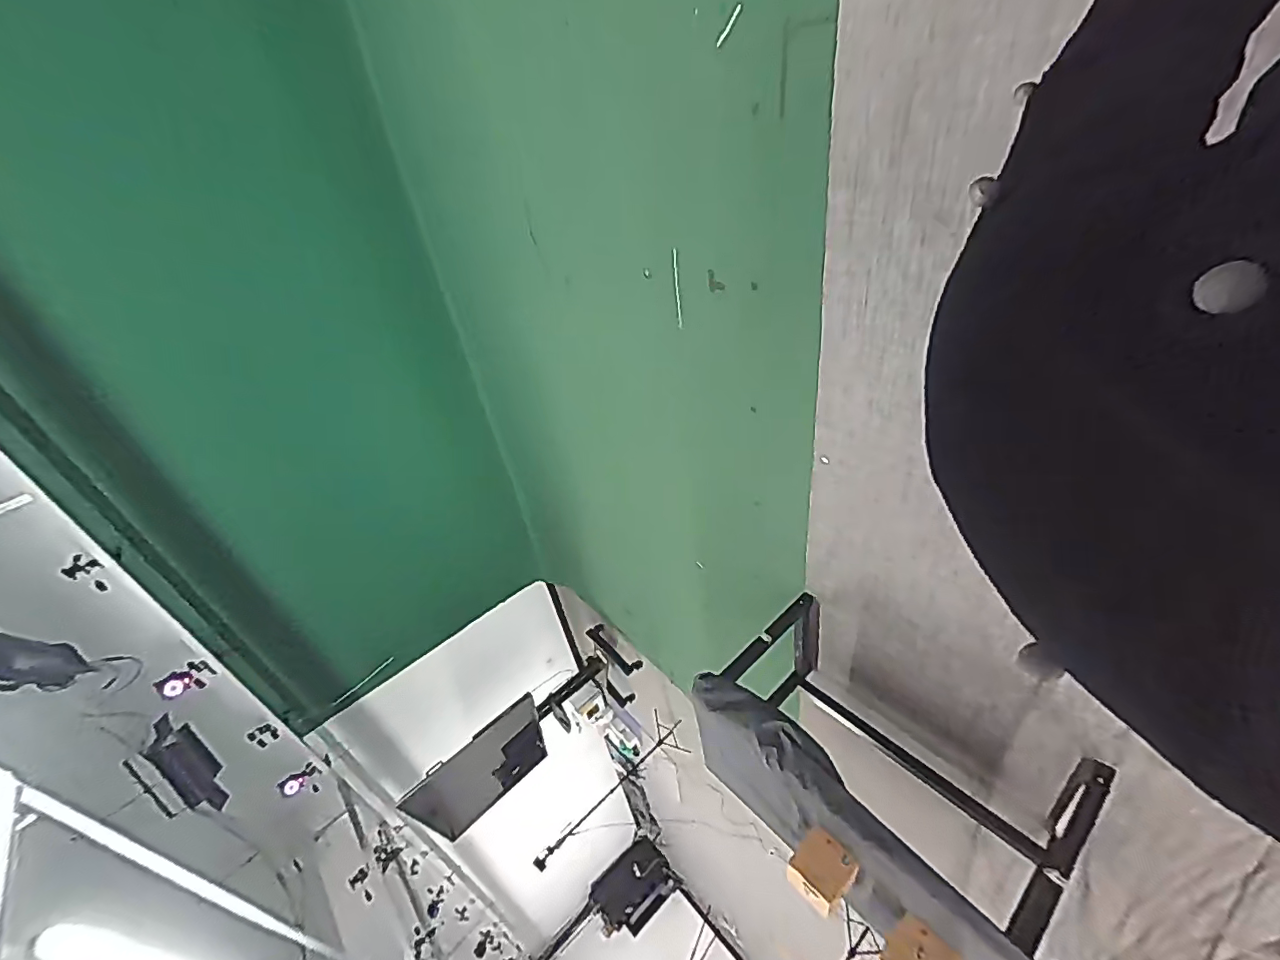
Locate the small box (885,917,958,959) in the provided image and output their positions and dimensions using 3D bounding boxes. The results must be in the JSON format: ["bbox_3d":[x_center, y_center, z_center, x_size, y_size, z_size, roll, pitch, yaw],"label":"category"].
[{"bbox_3d":[0.845,1.469,1.619,0.168,0.176,0.179,28,140,44],"label":"small box"}]

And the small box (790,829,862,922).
[{"bbox_3d":[0.630,1.331,1.829,0.168,0.176,0.179,31,144,41],"label":"small box"}]
